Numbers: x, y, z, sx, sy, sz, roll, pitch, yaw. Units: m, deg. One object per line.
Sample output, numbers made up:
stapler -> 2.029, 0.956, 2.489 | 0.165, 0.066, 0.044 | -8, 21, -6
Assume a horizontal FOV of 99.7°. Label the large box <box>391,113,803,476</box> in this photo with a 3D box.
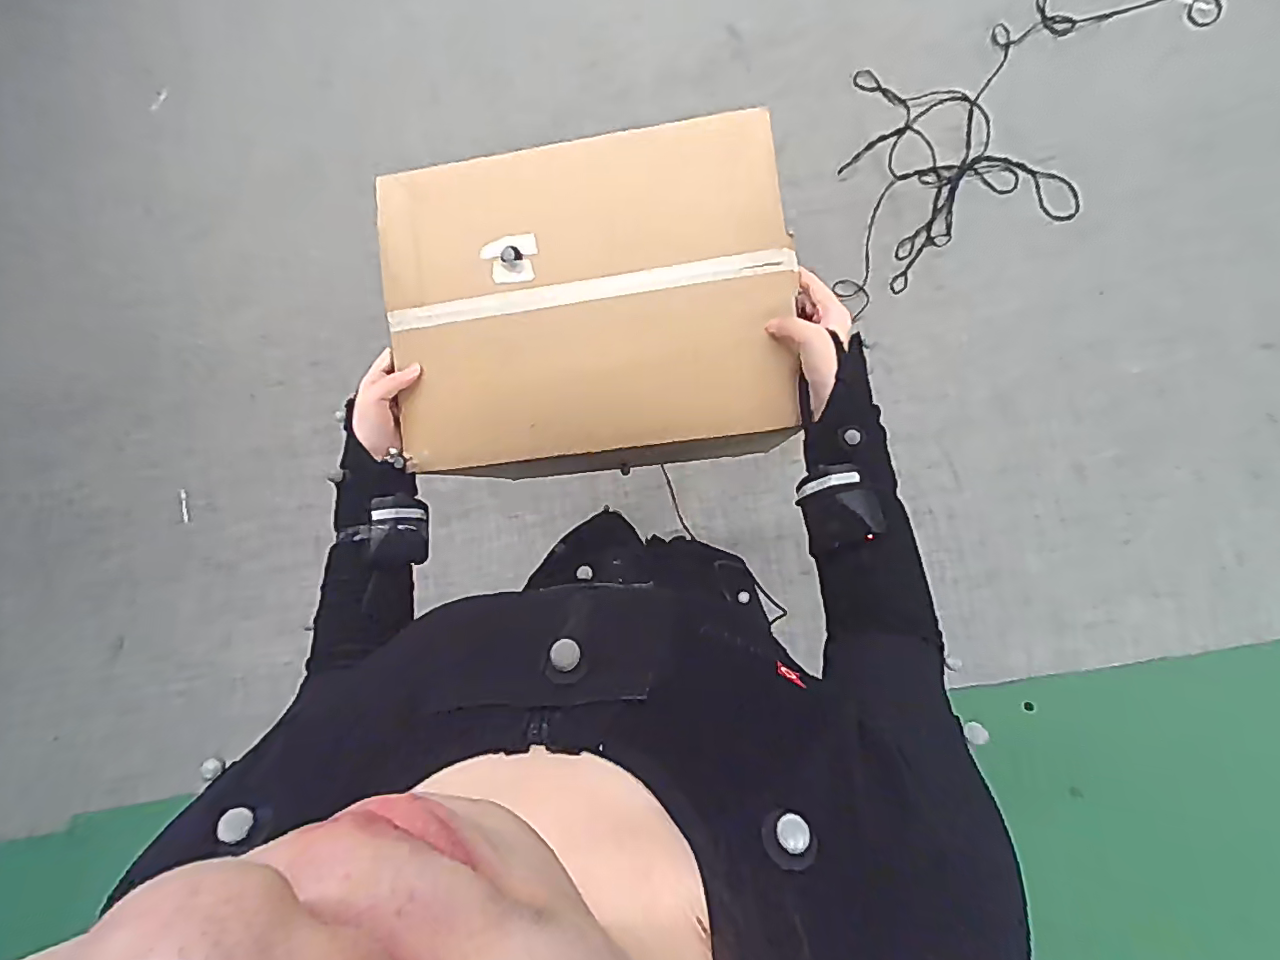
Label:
large box -> -0.034, -0.183, 0.697 | 0.408, 0.320, 0.320 | -7, 87, 8
